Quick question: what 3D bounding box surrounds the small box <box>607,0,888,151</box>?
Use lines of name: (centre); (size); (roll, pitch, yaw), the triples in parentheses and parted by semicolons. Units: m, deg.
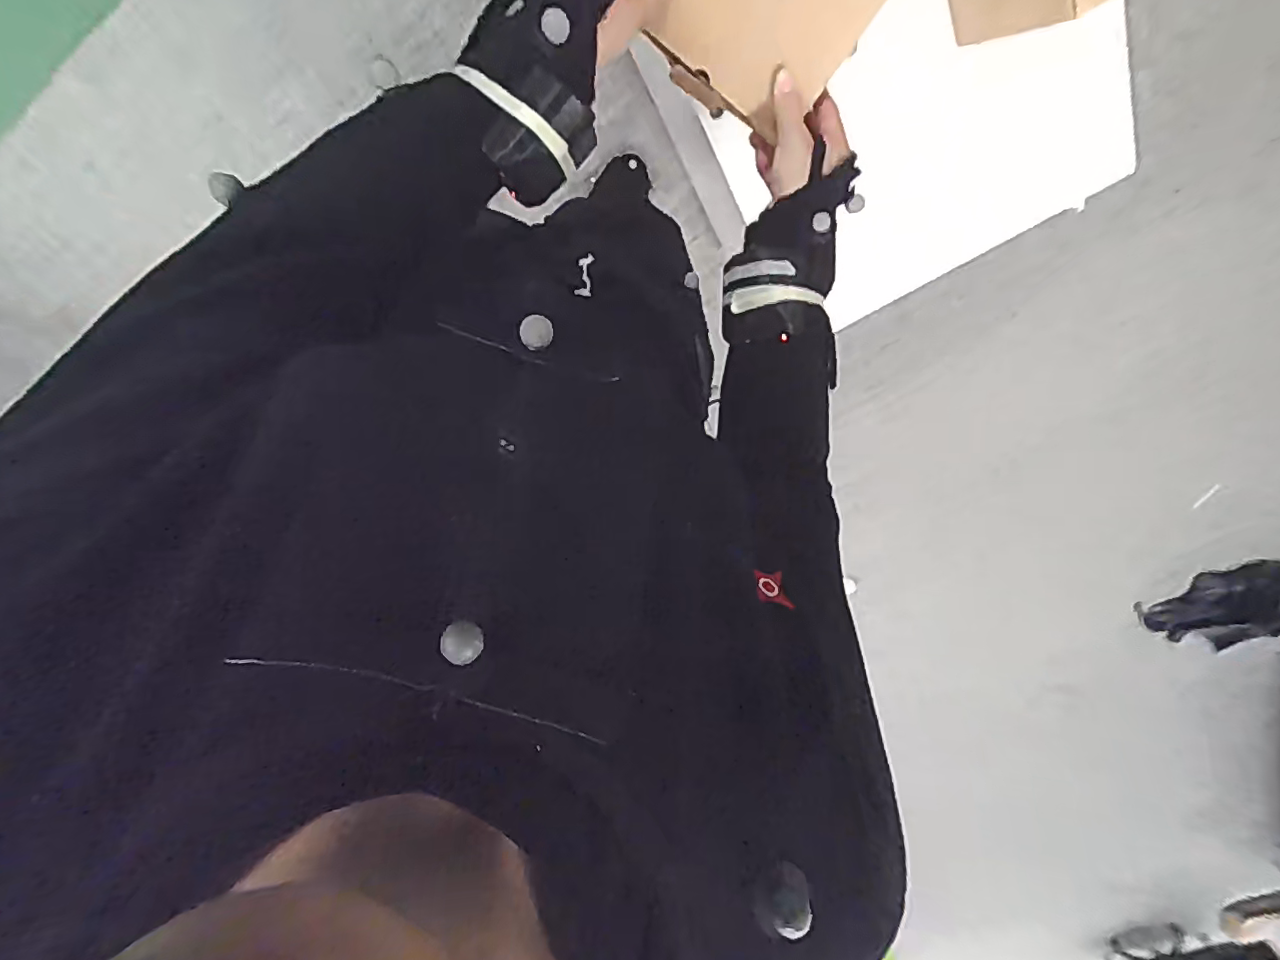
small box: (0.090, -0.404, 0.423); (0.168, 0.176, 0.179); (26, 125, -22)
